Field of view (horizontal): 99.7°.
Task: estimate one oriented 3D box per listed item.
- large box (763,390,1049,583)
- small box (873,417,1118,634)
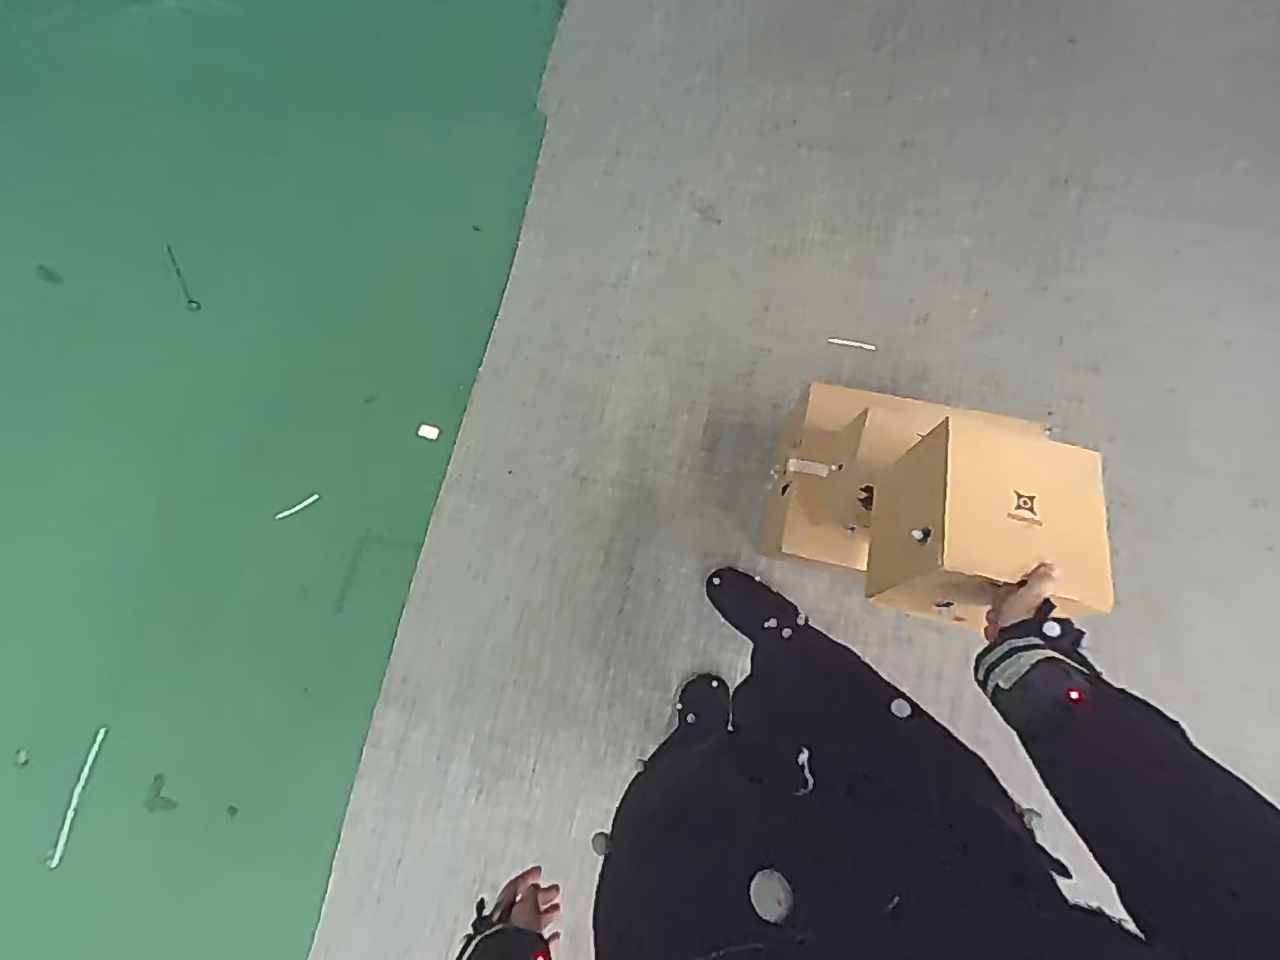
[{"bbox_3d":[0.482,0.045,1.064,0.408,0.320,0.320,12,83,6],"label":"large box"},{"bbox_3d":[0.386,0.060,0.615,0.168,0.176,0.179,16,67,3],"label":"small box"}]
